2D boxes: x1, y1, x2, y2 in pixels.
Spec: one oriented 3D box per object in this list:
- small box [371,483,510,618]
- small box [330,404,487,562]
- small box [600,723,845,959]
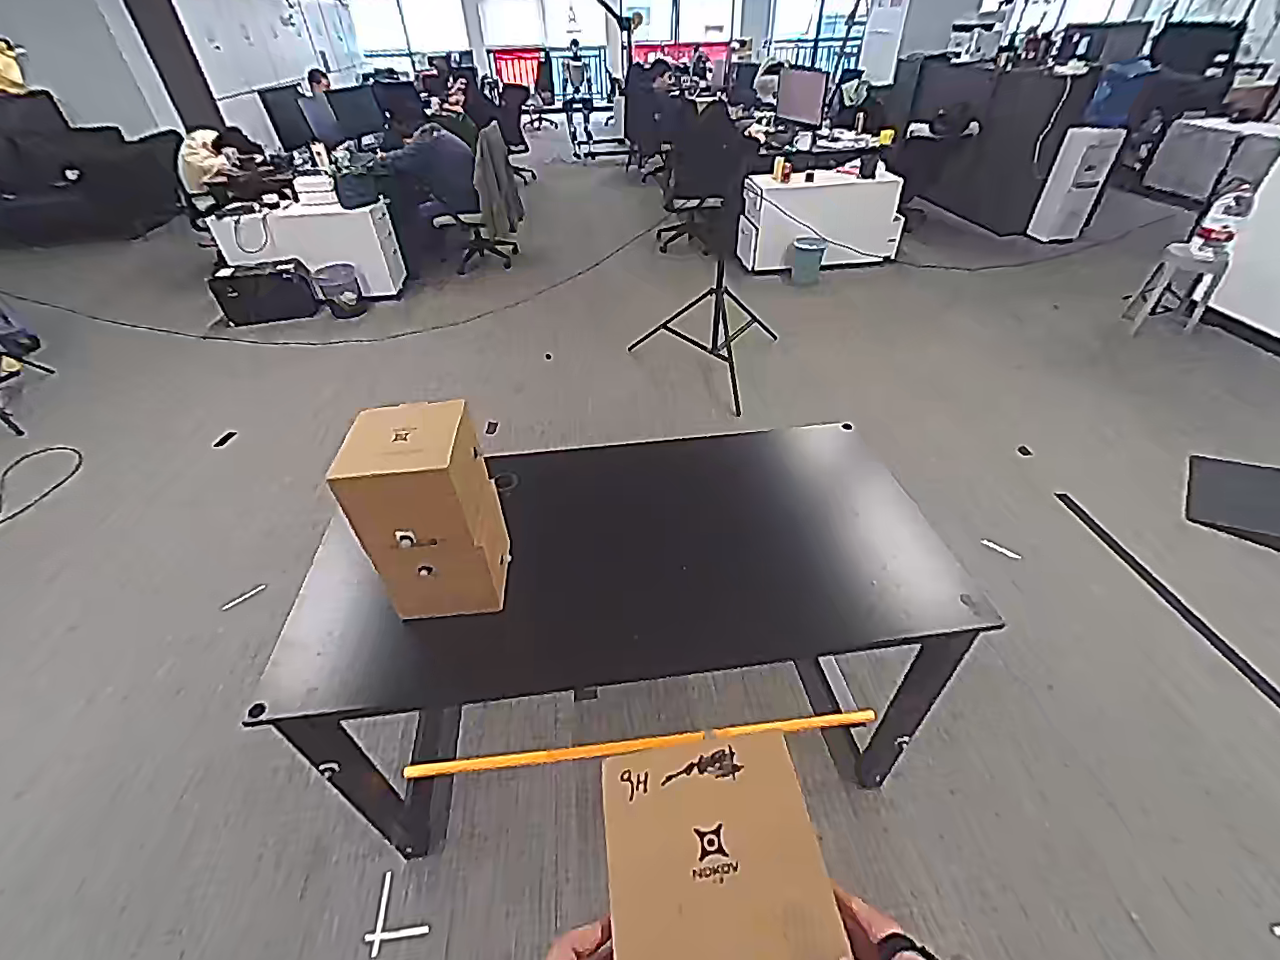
[{"bbox_3d":[-0.337,0.126,0.950,0.179,0.176,0.168,-4,40,-4],"label":"small box"},{"bbox_3d":[-0.343,0.003,0.844,0.168,0.176,0.179,-7,41,-3],"label":"small box"},{"bbox_3d":[0.064,0.349,0.482,0.168,0.176,0.179,-10,42,0],"label":"small box"}]
